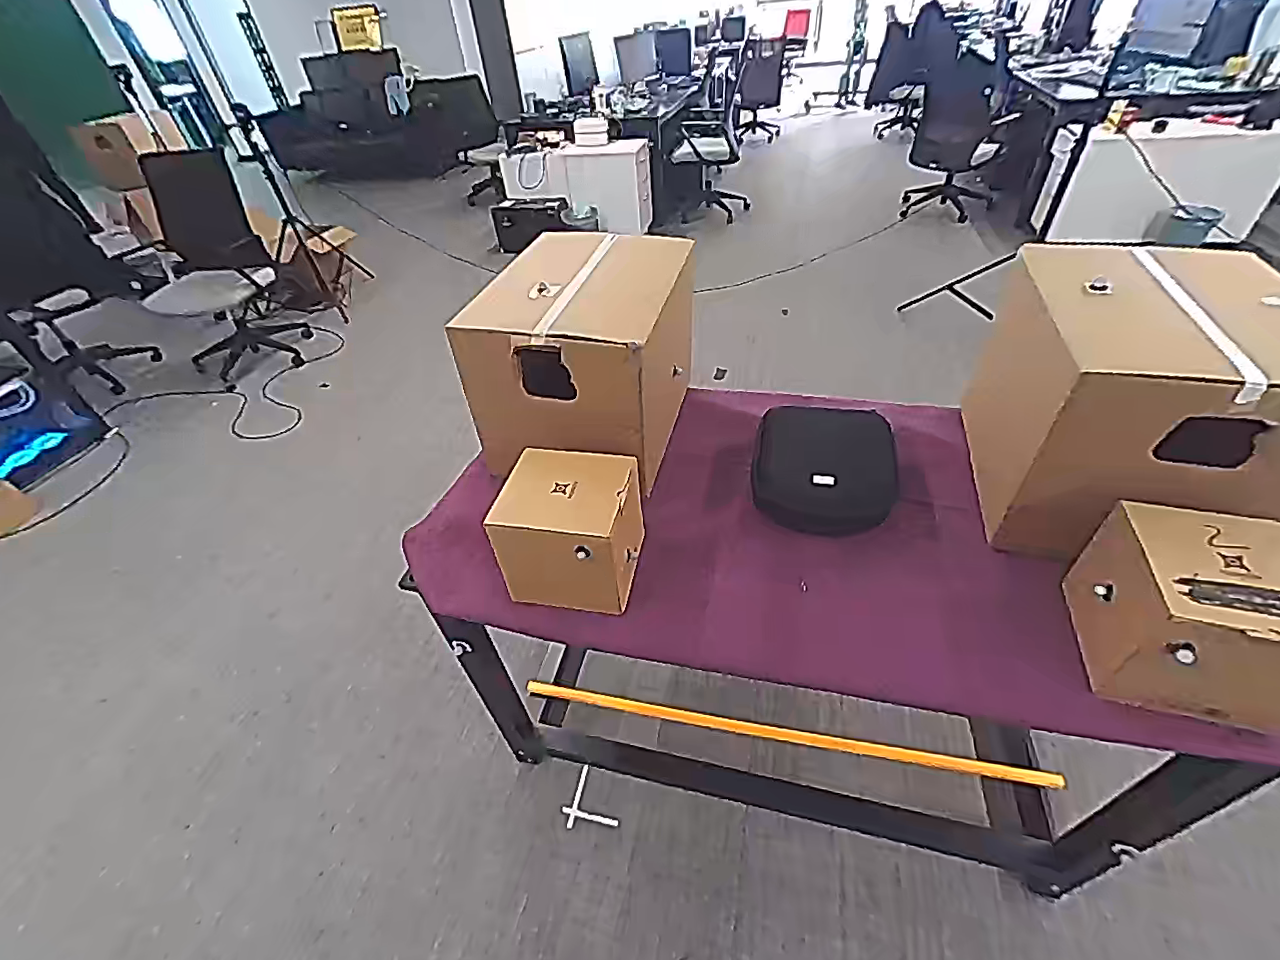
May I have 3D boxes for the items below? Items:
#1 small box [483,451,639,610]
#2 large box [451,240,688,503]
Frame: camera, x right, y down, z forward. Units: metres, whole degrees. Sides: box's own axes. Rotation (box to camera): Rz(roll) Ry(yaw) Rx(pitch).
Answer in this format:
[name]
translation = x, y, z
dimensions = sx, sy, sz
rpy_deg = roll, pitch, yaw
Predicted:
[small box]
translation = -0.104, 0.075, 0.808
dimensions = 0.179, 0.176, 0.168
rpy_deg = 5, 41, 10
[large box]
translation = -0.093, -0.219, 1.029
dimensions = 0.320, 0.320, 0.408
rpy_deg = 7, 46, 12
